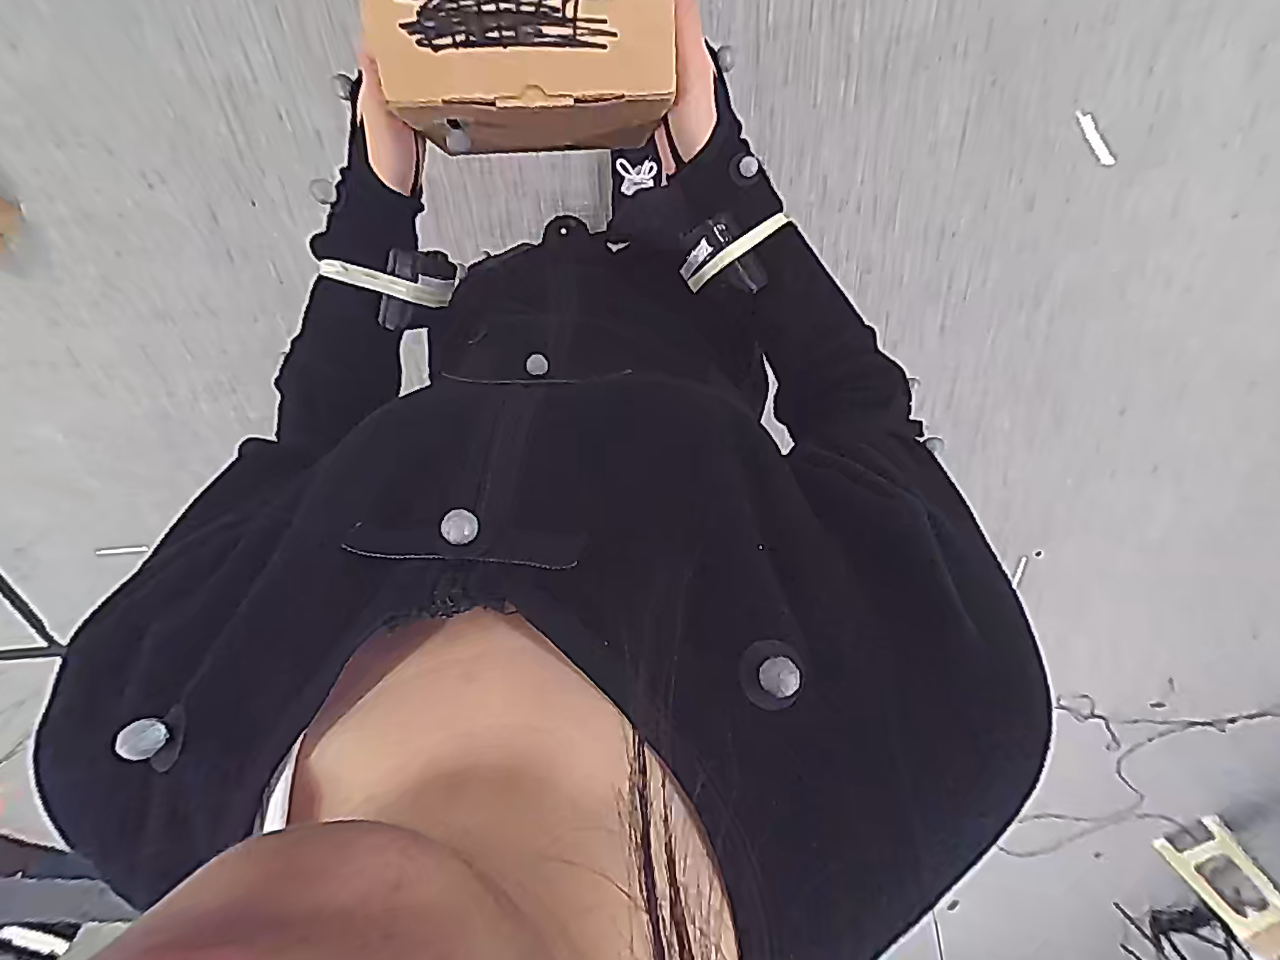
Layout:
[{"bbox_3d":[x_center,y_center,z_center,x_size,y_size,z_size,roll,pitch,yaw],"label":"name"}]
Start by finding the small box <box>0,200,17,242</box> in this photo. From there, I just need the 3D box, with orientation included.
[{"bbox_3d":[-1.478,-0.555,1.114,0.168,0.176,0.179,-39,114,16],"label":"small box"}]

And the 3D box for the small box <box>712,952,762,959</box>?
[{"bbox_3d":[0.290,1.537,1.597,0.179,0.176,0.168,-7,122,0],"label":"small box"}]
